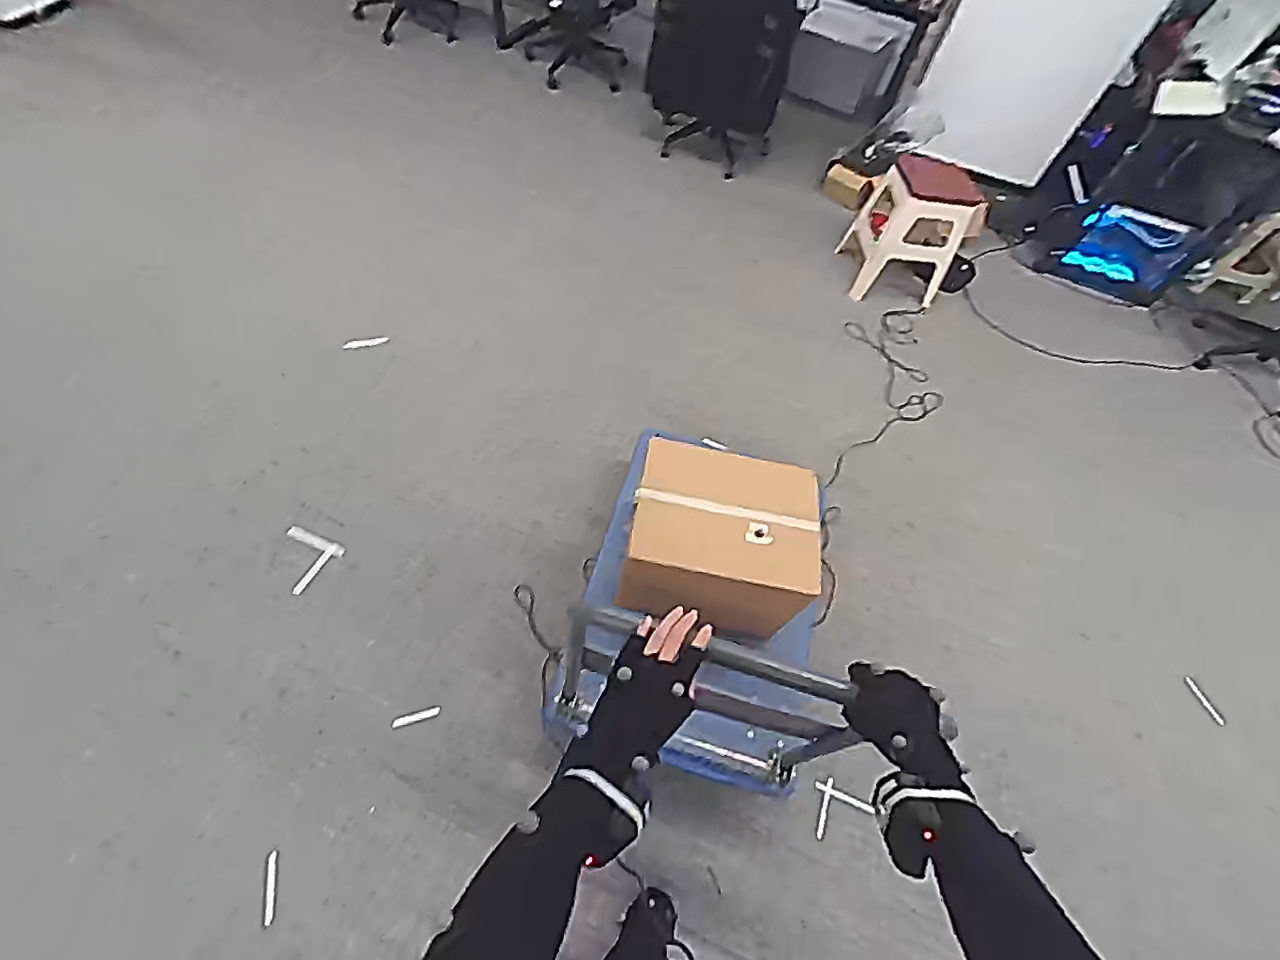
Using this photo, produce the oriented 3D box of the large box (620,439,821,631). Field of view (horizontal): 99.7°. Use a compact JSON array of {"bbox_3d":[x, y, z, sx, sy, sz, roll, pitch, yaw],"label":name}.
[{"bbox_3d":[0.181,0.143,1.313,0.408,0.320,0.320,12,58,-2],"label":"large box"}]
